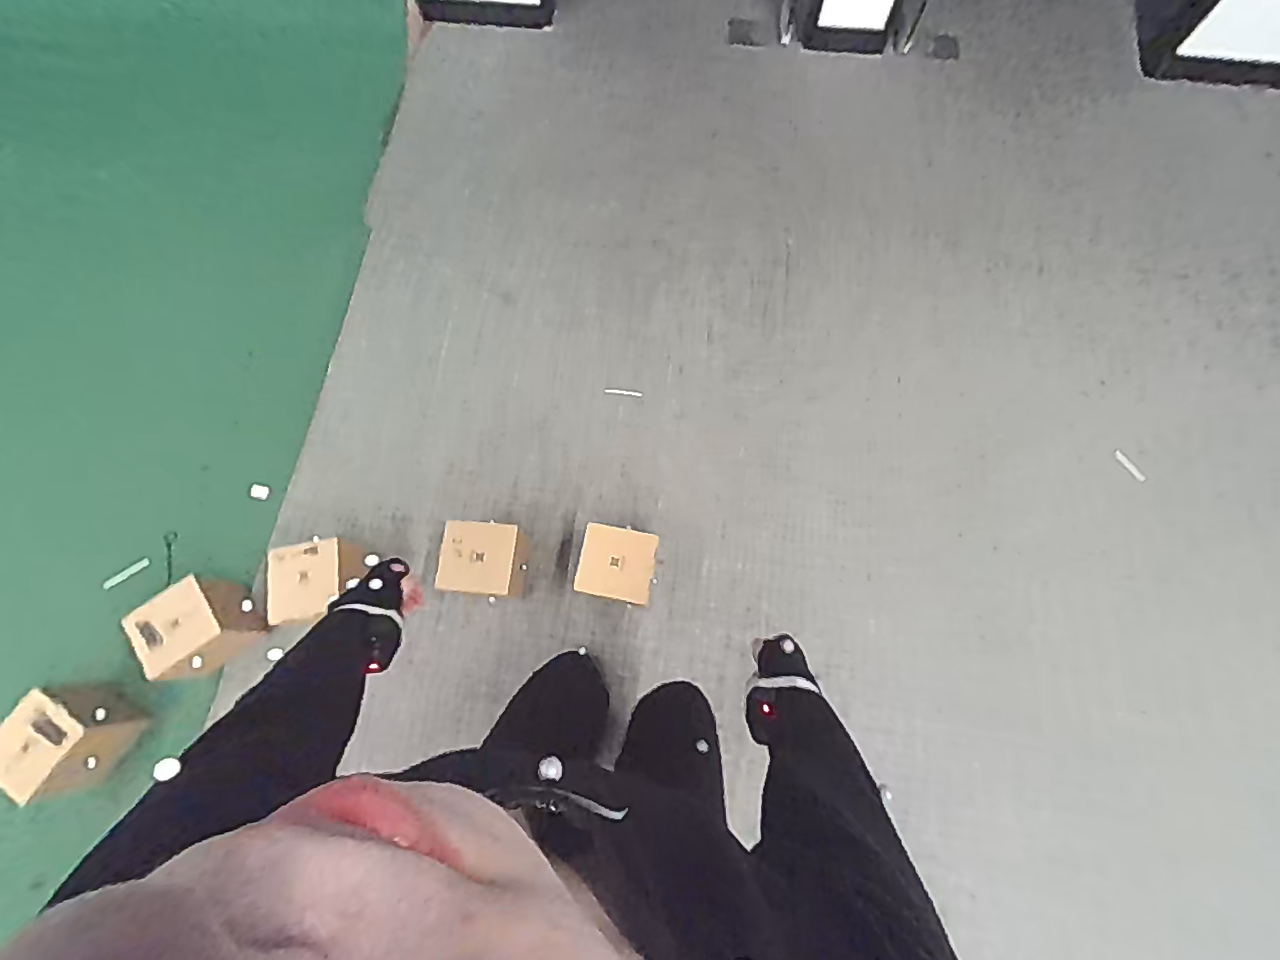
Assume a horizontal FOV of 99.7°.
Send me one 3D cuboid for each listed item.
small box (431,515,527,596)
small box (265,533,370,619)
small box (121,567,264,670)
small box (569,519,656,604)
[{"bbox_3d":[-0.389,0.193,1.343,0.179,0.176,0.168,6,73,1],"label":"small box"},{"bbox_3d":[-0.785,0.241,1.331,0.168,0.176,0.179,-10,74,-3],"label":"small box"},{"bbox_3d":[-1.067,0.337,1.303,0.179,0.176,0.168,-36,76,-11],"label":"small box"},{"bbox_3d":[-0.063,0.209,1.341,0.179,0.176,0.168,11,74,3],"label":"small box"}]
